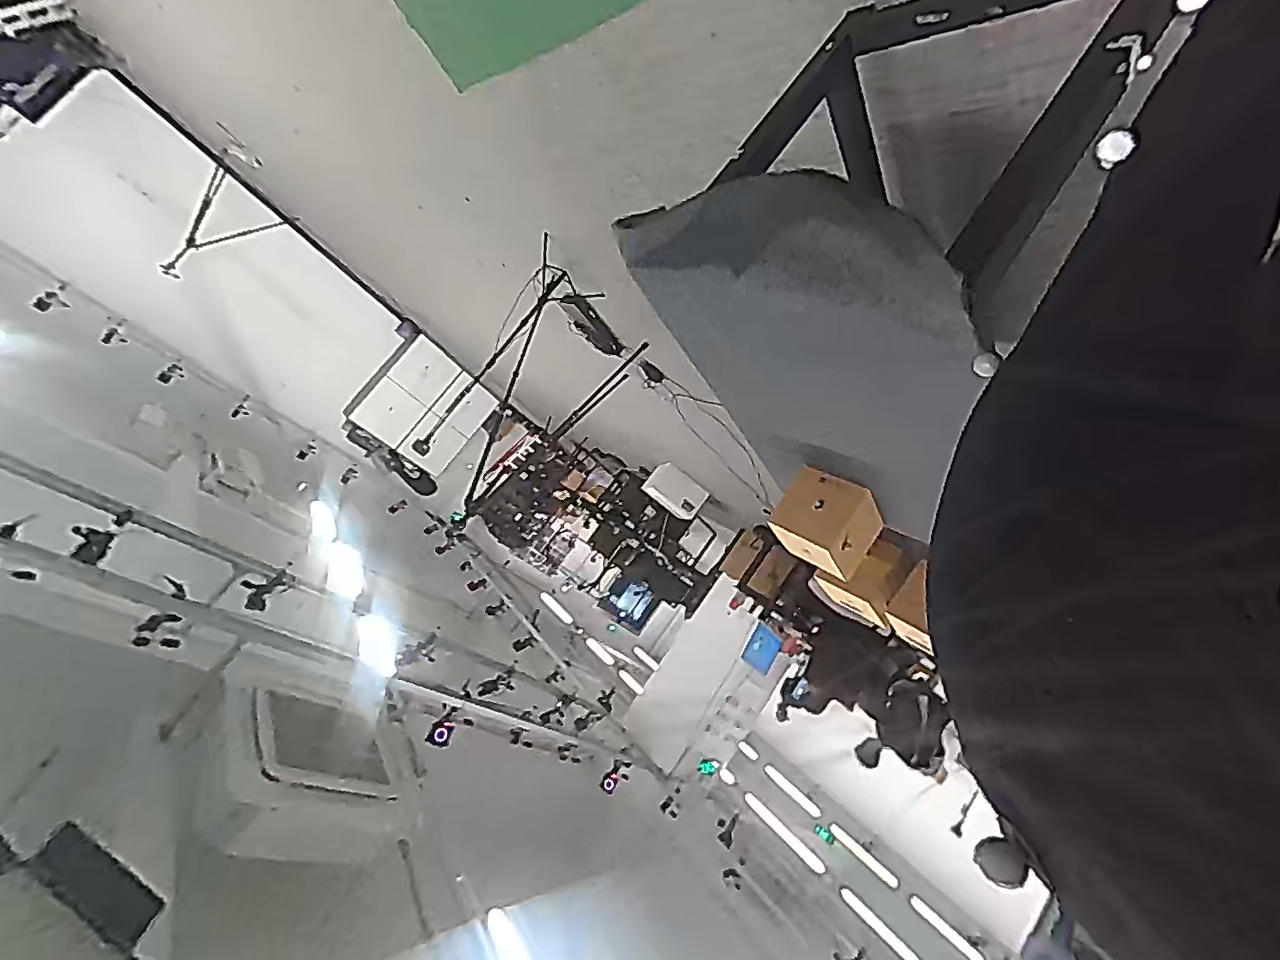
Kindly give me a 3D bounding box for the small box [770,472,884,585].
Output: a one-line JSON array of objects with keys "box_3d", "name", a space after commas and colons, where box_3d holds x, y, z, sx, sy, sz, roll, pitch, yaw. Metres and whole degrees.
[{"box_3d": [0.440, 0.108, 1.261, 0.168, 0.176, 0.179, 29, 168, 45], "name": "small box"}]
